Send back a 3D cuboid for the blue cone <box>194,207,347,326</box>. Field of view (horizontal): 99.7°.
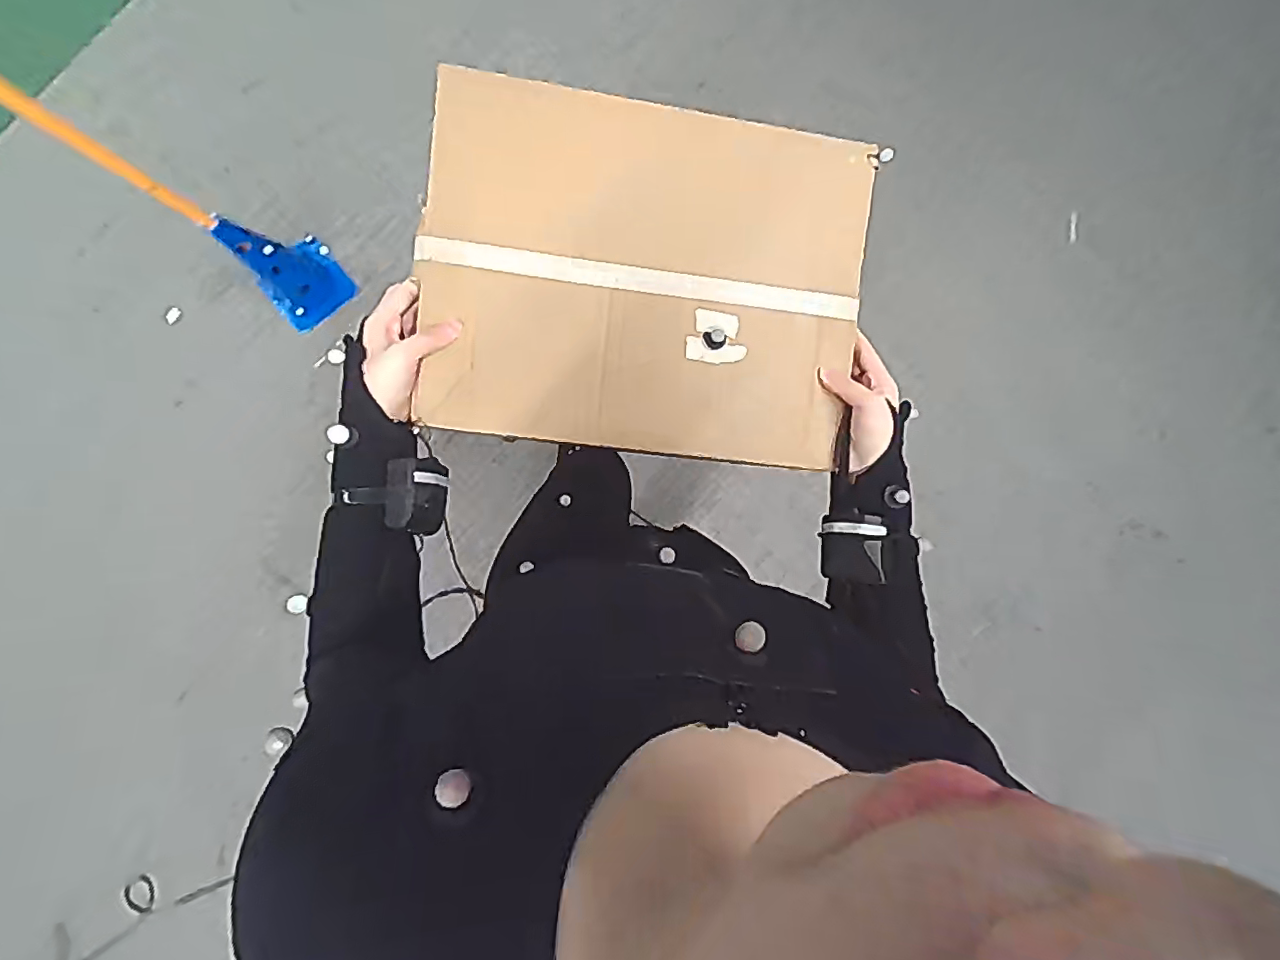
[{"bbox_3d":[-0.896,-0.530,1.287,0.193,0.380,0.192,-39,91,-3],"label":"blue cone"}]

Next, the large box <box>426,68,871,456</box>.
[{"bbox_3d":[-0.005,-0.202,0.653,0.408,0.320,0.320,6,94,-8],"label":"large box"}]
